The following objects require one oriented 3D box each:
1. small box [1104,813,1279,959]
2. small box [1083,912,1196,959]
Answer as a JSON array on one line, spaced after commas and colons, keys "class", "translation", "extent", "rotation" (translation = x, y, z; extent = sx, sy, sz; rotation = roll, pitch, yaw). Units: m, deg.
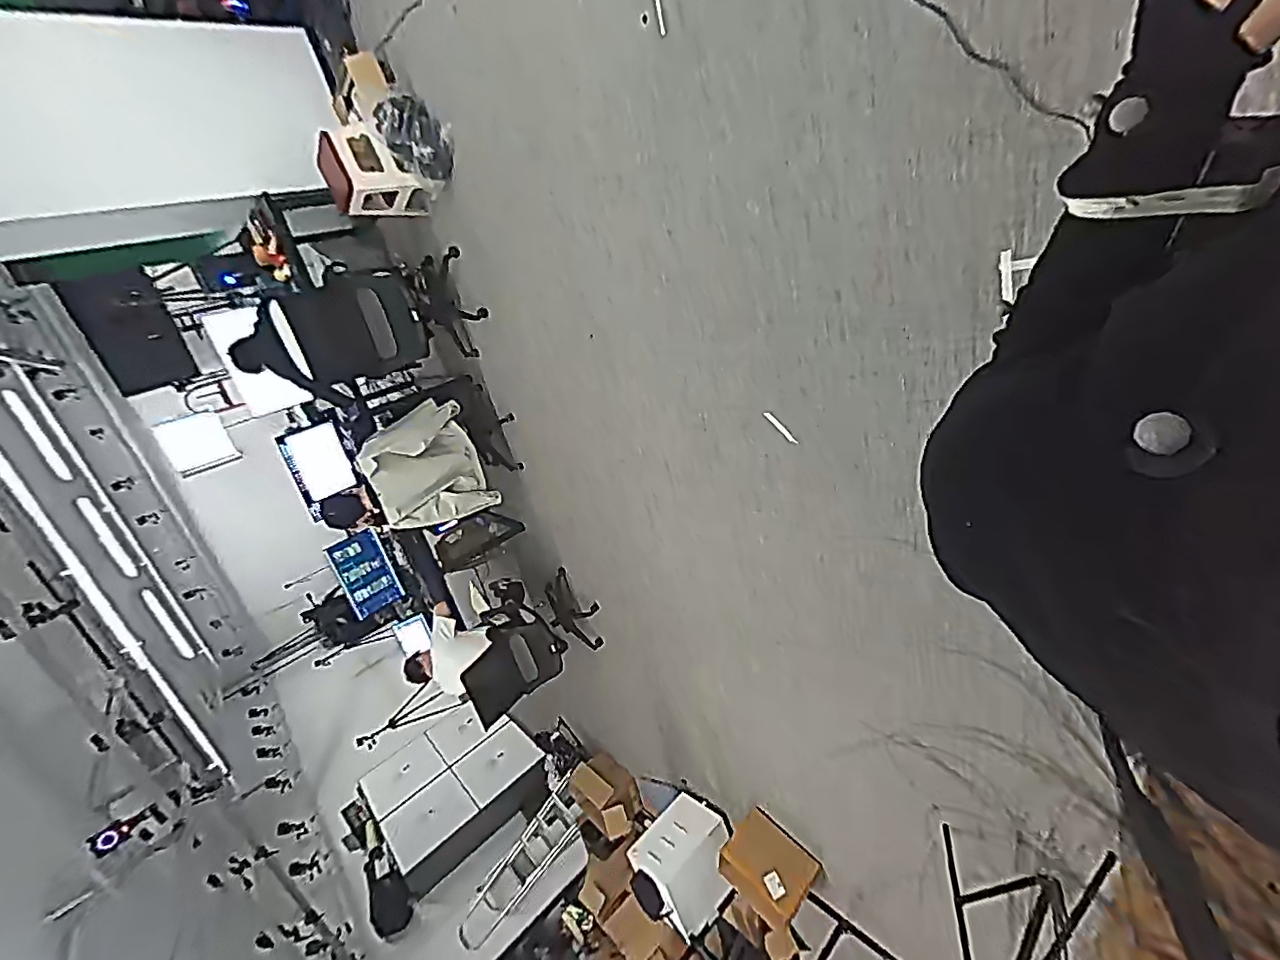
[{"class": "small box", "translation": [0.678, 0.560, 0.656], "extent": [0.168, 0.176, 0.179], "rotation": [14, 125, 48]}, {"class": "small box", "translation": [0.557, 0.623, 0.563], "extent": [0.168, 0.176, 0.179], "rotation": [11, 121, 48]}]
